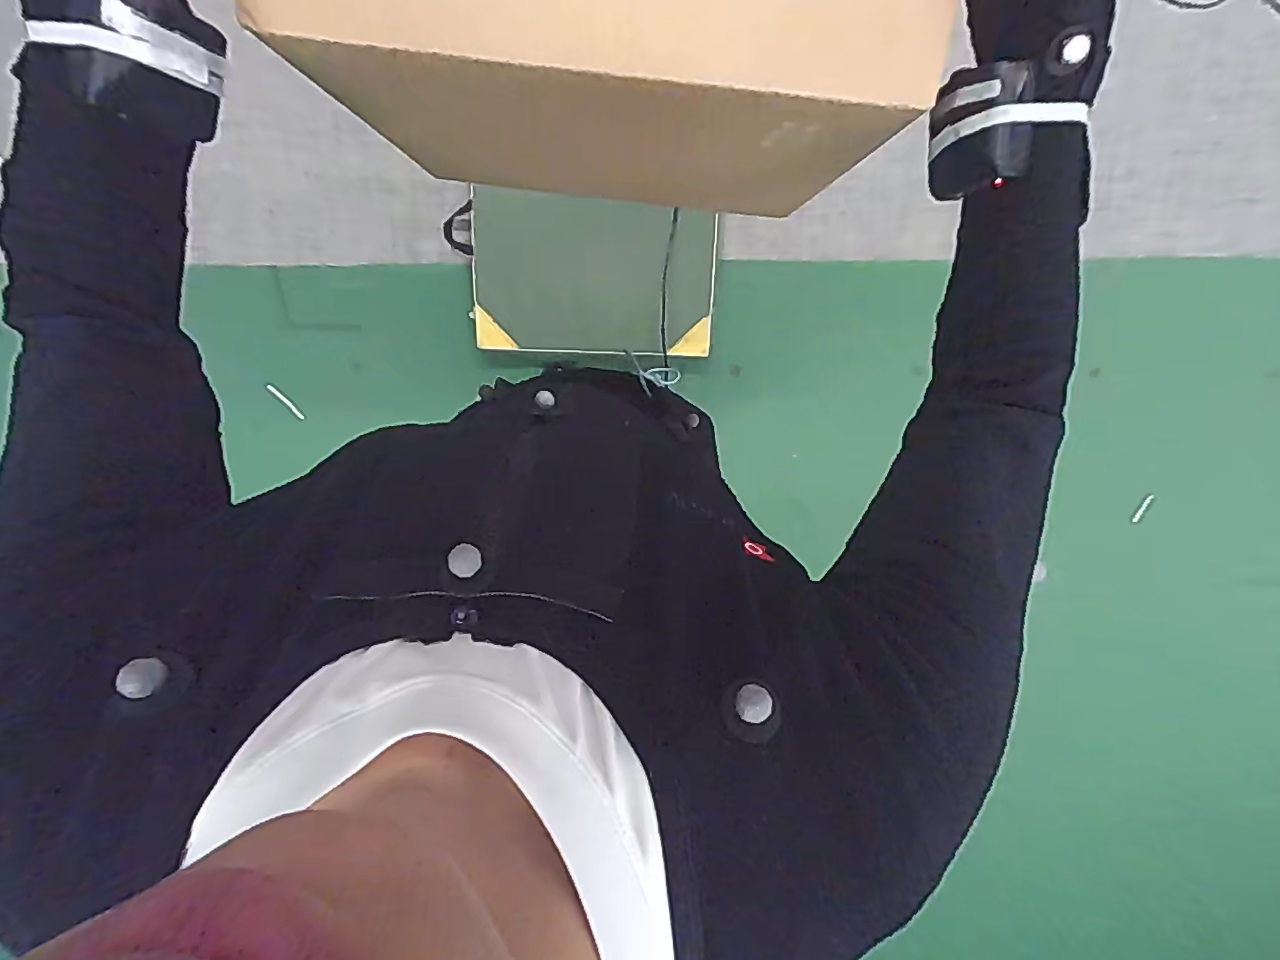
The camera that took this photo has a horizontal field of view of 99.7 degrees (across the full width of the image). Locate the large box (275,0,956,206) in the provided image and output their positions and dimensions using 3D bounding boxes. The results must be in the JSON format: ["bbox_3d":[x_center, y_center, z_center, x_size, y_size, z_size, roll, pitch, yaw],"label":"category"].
[{"bbox_3d":[-0.008,-0.433,0.427,0.408,0.320,0.320,4,105,-4],"label":"large box"}]
